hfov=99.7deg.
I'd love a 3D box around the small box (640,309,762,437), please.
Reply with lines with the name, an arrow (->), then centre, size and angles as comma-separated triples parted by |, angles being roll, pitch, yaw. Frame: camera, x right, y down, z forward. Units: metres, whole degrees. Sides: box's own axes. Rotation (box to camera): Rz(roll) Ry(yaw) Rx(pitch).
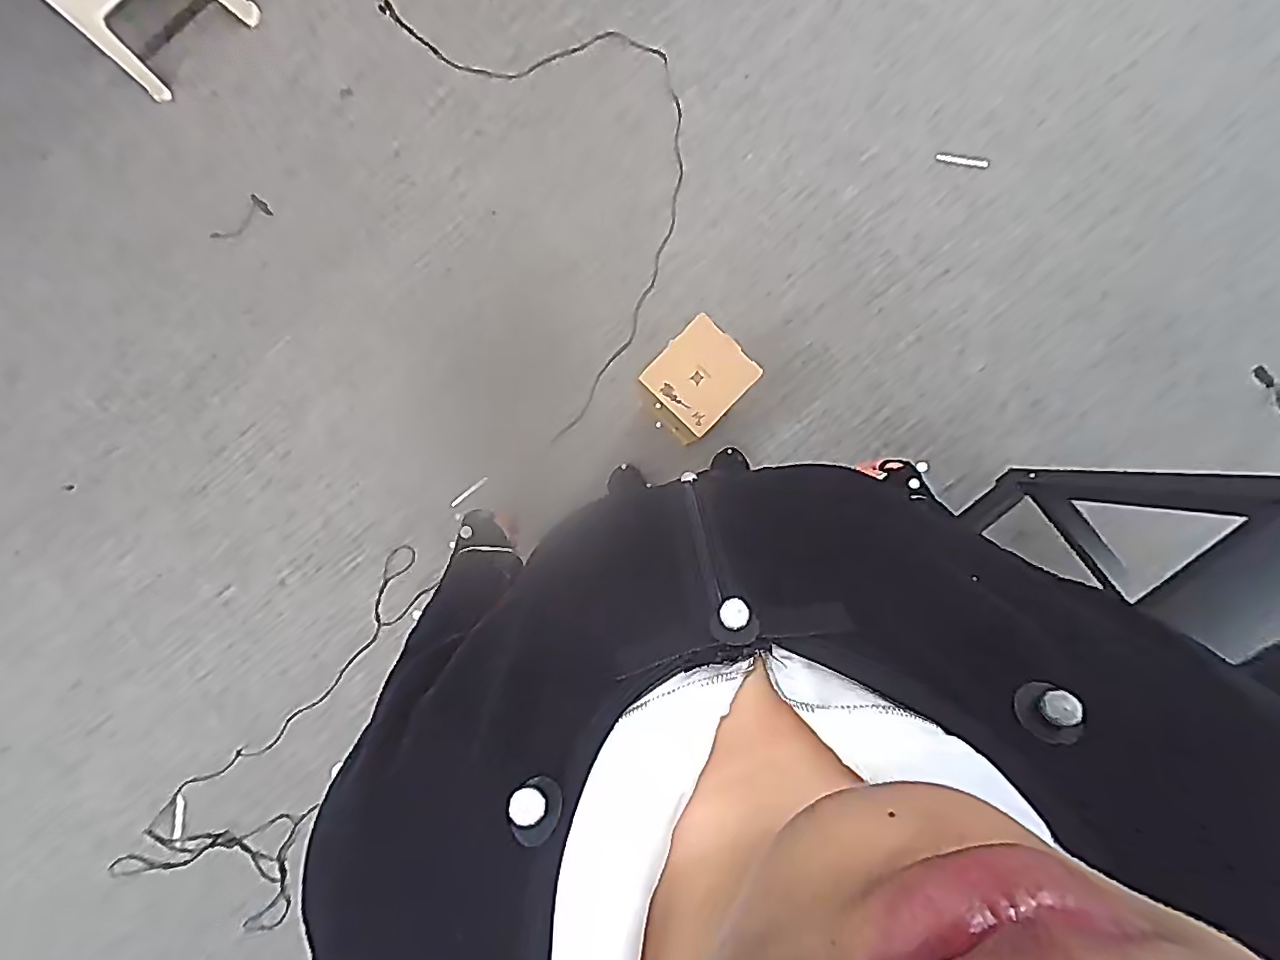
small box -> 0.114, -0.206, 1.092 | 0.168, 0.176, 0.179 | 44, 92, 1

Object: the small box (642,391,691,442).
small box -> 0.122, -0.215, 1.420 | 0.179, 0.176, 0.168 | -43, 90, 4
